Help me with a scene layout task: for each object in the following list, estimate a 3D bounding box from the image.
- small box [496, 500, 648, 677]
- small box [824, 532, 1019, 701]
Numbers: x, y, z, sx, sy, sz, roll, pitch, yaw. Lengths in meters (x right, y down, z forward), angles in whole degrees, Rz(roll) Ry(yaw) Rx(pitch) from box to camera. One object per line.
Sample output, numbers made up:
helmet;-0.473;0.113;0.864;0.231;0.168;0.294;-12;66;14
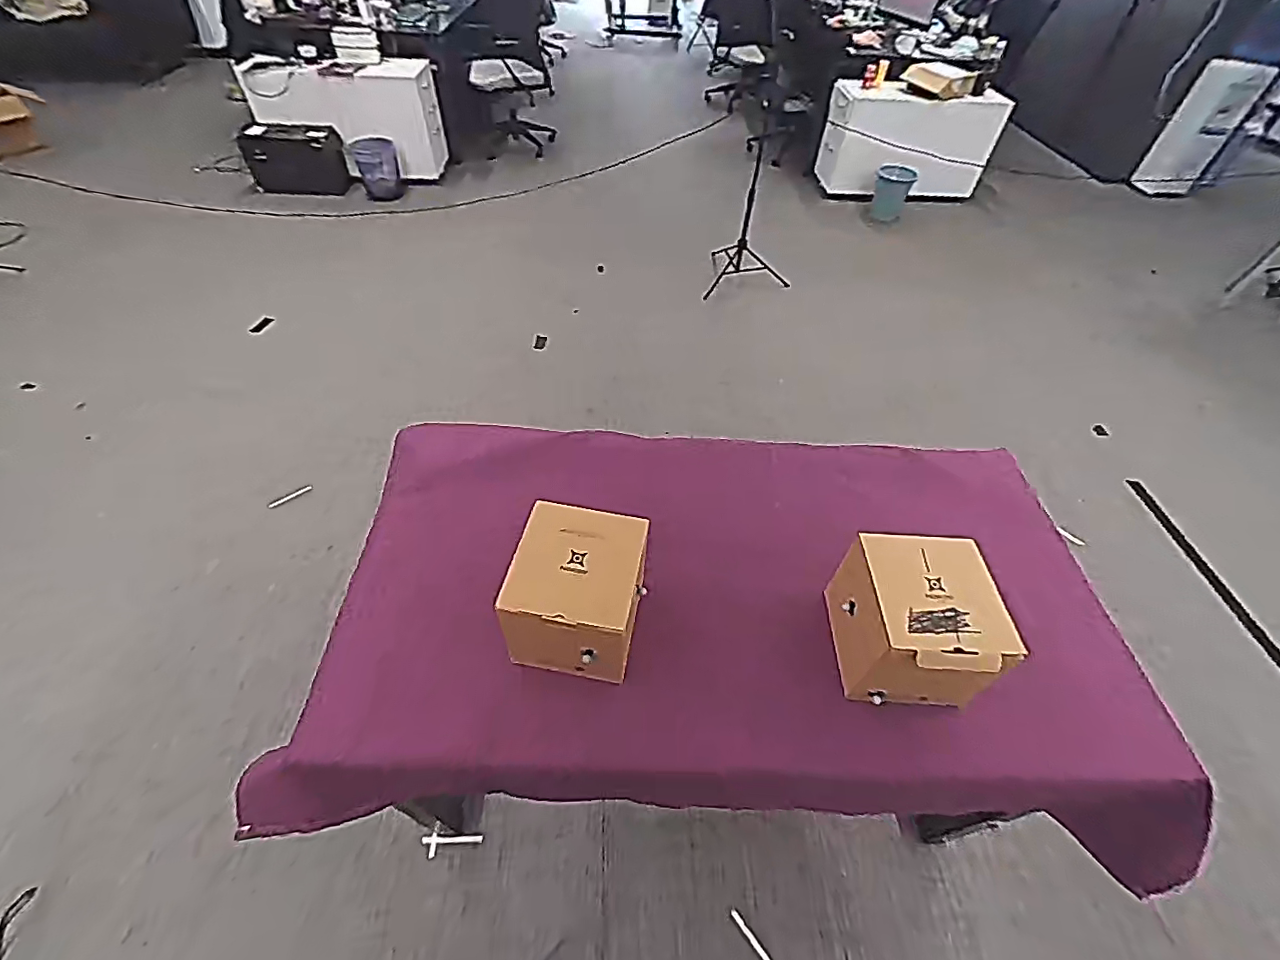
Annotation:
small box;-0.087;0.158;0.771;0.168;0.176;0.179;10;49;5
small box;0.377;0.196;0.763;0.168;0.176;0.179;4;48;0
